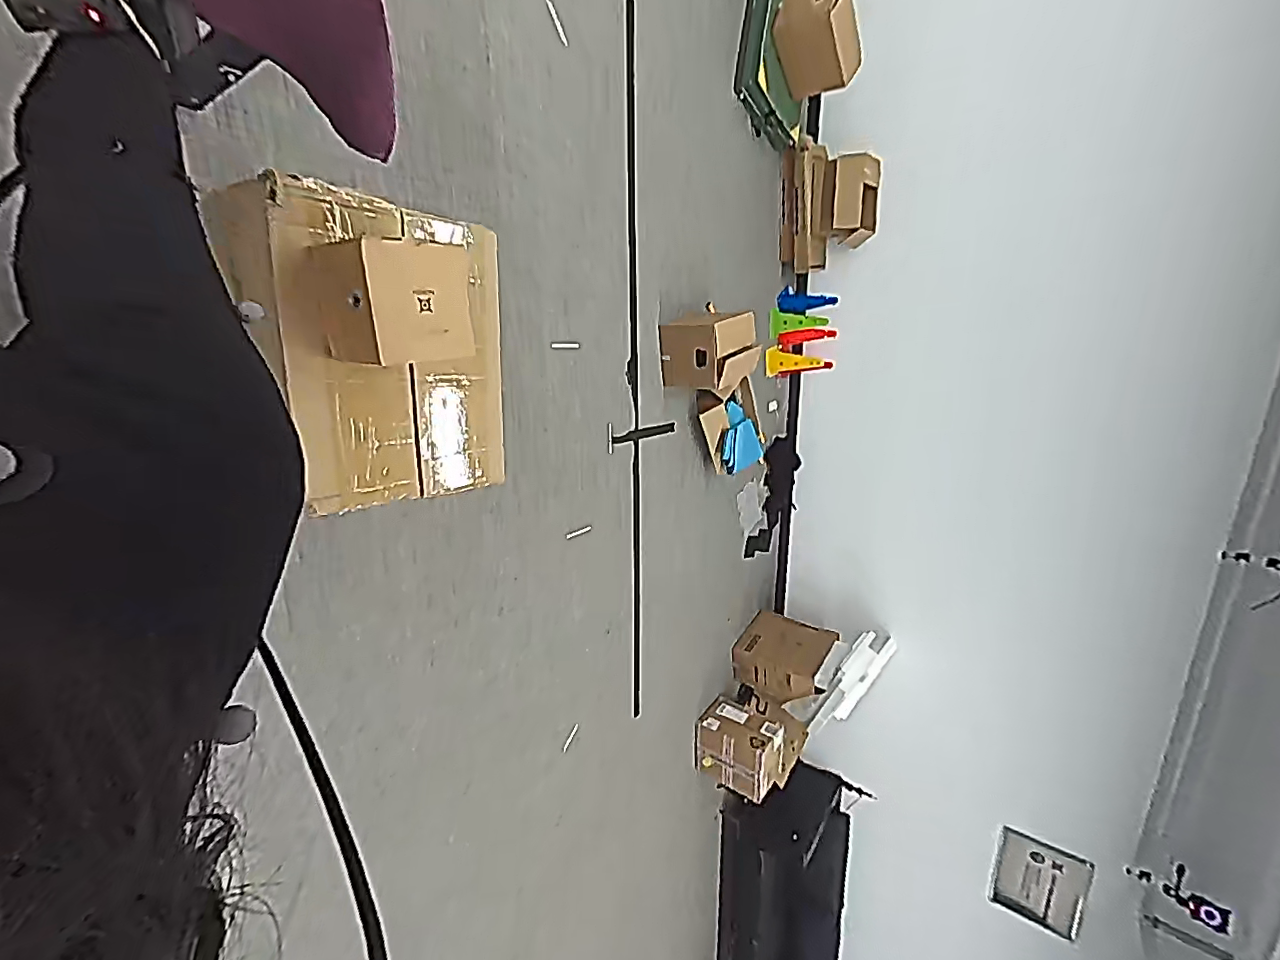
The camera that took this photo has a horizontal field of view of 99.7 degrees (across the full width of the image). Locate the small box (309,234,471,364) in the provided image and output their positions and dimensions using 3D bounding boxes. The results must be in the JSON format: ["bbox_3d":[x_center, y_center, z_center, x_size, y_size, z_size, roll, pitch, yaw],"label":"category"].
[{"bbox_3d":[-0.394,-0.280,0.855,0.168,0.176,0.179,-22,118,-48],"label":"small box"}]
